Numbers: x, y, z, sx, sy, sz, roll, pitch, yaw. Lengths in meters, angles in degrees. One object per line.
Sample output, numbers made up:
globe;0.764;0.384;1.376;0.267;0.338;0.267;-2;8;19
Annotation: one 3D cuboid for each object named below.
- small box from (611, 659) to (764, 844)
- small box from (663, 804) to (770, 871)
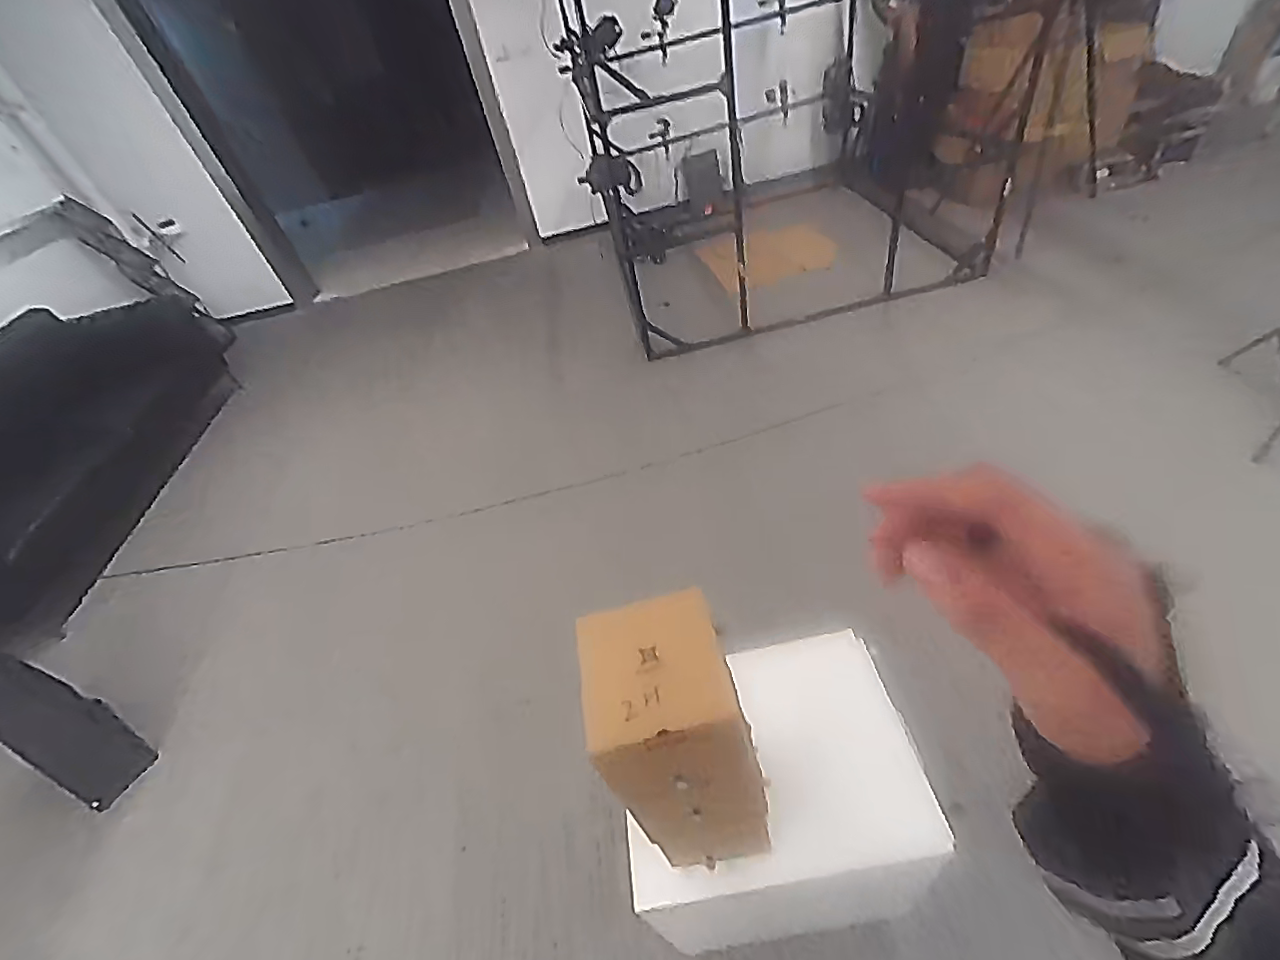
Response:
small box;0.070;0.389;0.774;0.179;0.176;0.168;-16;41;1
small box;0.109;0.505;0.883;0.168;0.176;0.179;-13;42;4
